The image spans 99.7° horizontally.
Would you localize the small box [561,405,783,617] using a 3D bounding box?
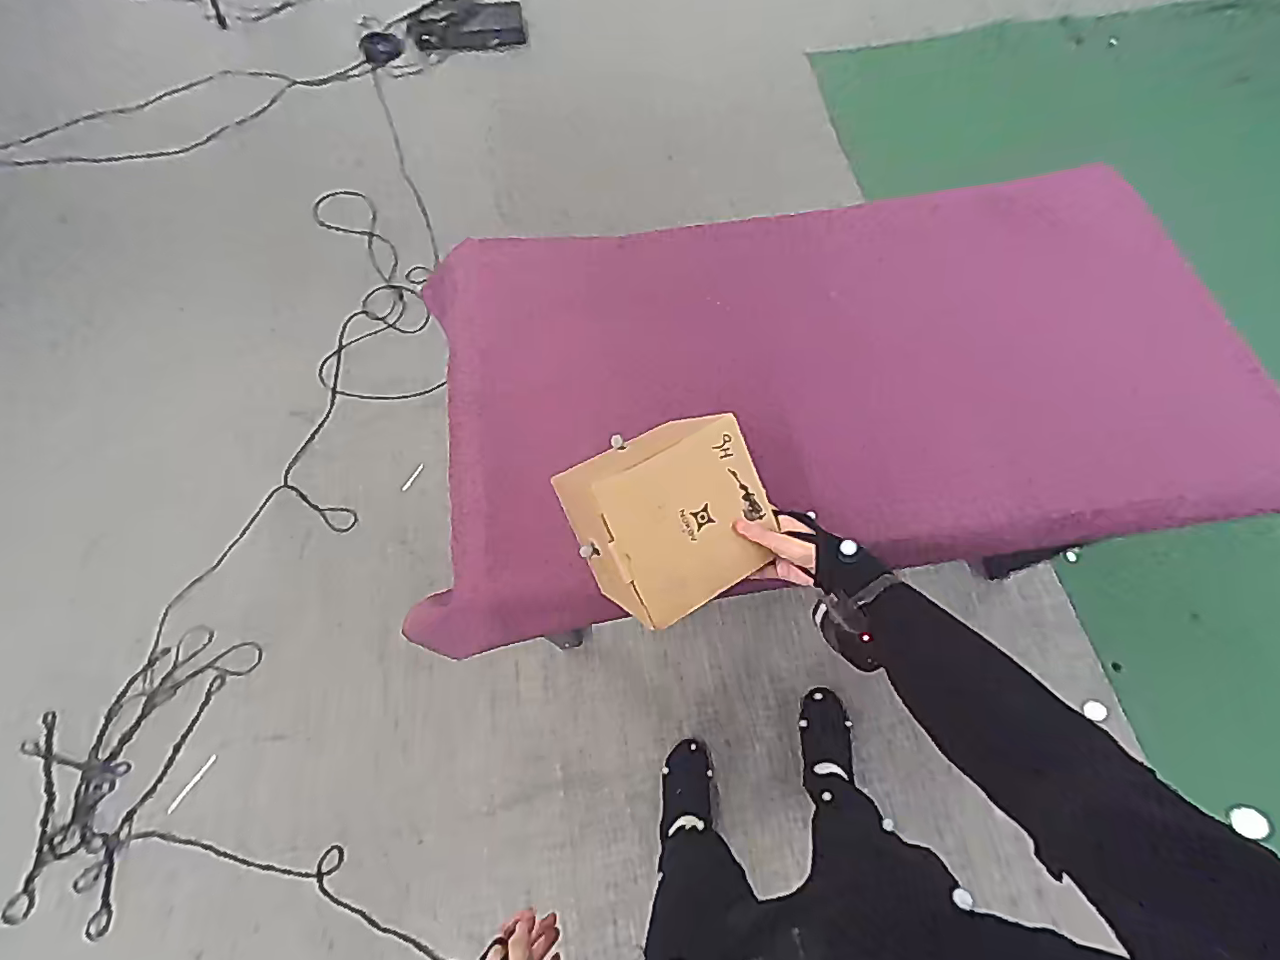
[{"bbox_3d":[0.023,0.027,0.617,0.179,0.176,0.168,-25,101,-20],"label":"small box"}]
